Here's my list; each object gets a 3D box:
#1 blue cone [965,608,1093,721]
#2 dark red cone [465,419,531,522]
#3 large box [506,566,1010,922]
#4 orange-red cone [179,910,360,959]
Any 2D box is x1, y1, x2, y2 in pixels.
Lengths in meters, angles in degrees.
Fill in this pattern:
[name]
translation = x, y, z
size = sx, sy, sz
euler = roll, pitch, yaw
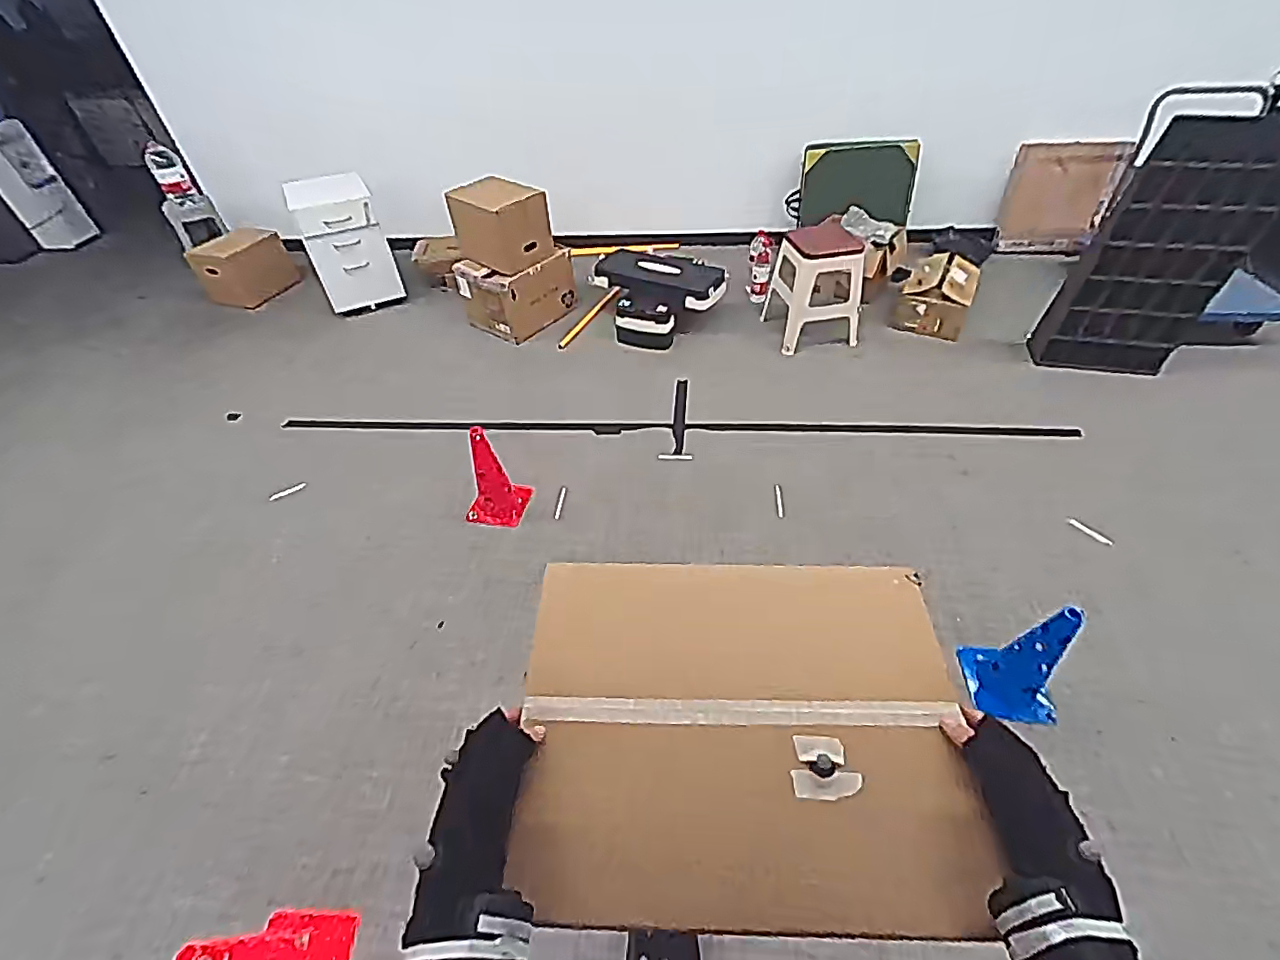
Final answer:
[blue cone]
translation = 0.989, 0.433, 1.343
size = 0.192, 0.380, 0.193
euler = 5, 46, 7
[dark red cone]
translation = -0.523, -0.045, 1.868
size = 0.201, 0.394, 0.202
euler = 6, 46, 9
[large box]
translation = 0.094, 0.311, 0.629
size = 0.408, 0.320, 0.320
euler = 1, 51, 2
[orange-red cone]
translation = -0.703, 0.886, 0.977
size = 0.198, 0.360, 0.199
euler = -1, 46, 4
